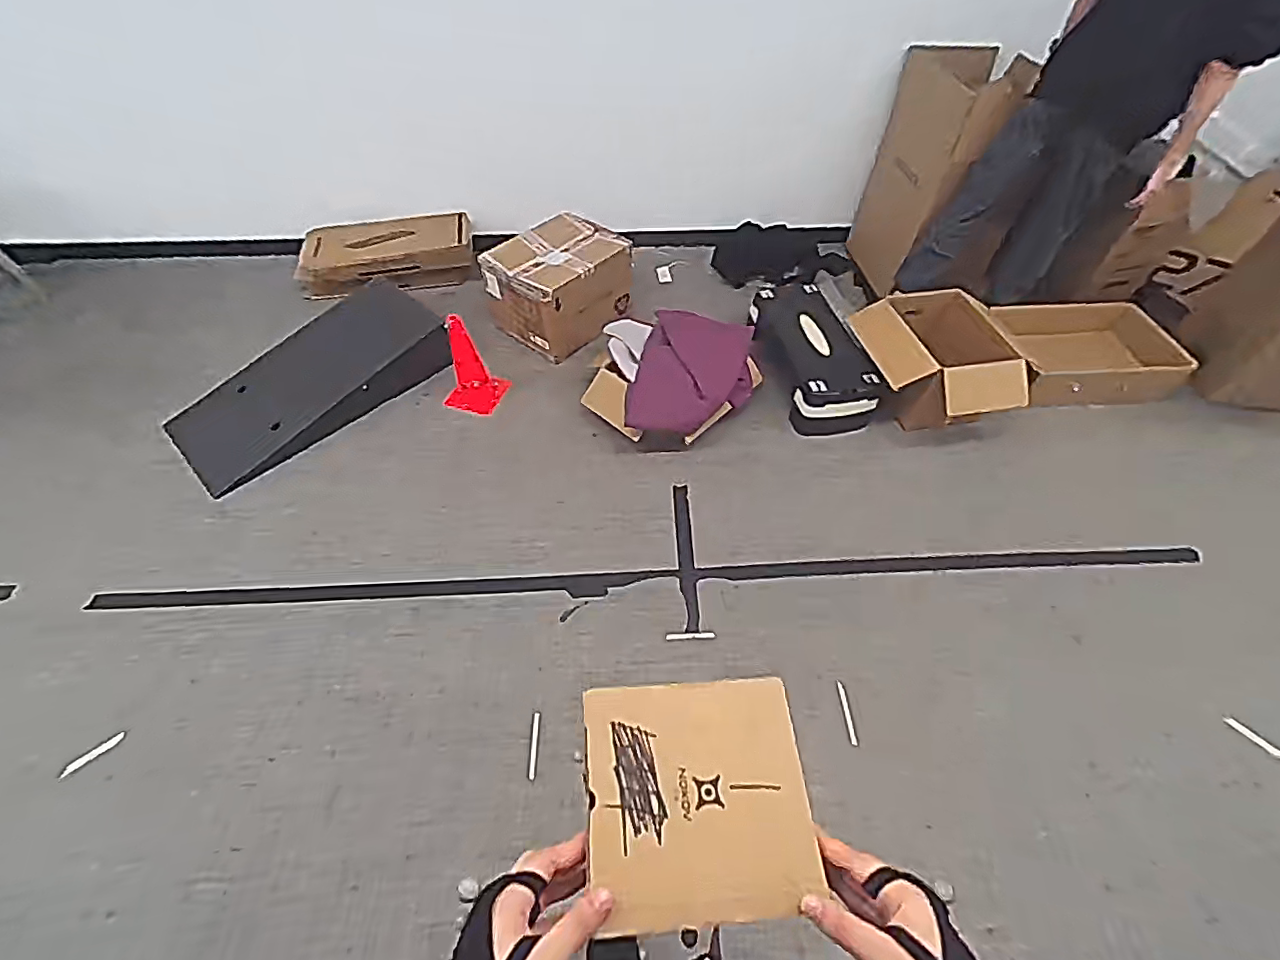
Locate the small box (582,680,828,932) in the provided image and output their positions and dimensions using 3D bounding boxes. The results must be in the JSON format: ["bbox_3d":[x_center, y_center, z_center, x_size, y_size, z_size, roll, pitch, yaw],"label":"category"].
[{"bbox_3d":[0.040,0.291,0.489,0.179,0.176,0.168,-1,55,-6],"label":"small box"}]
